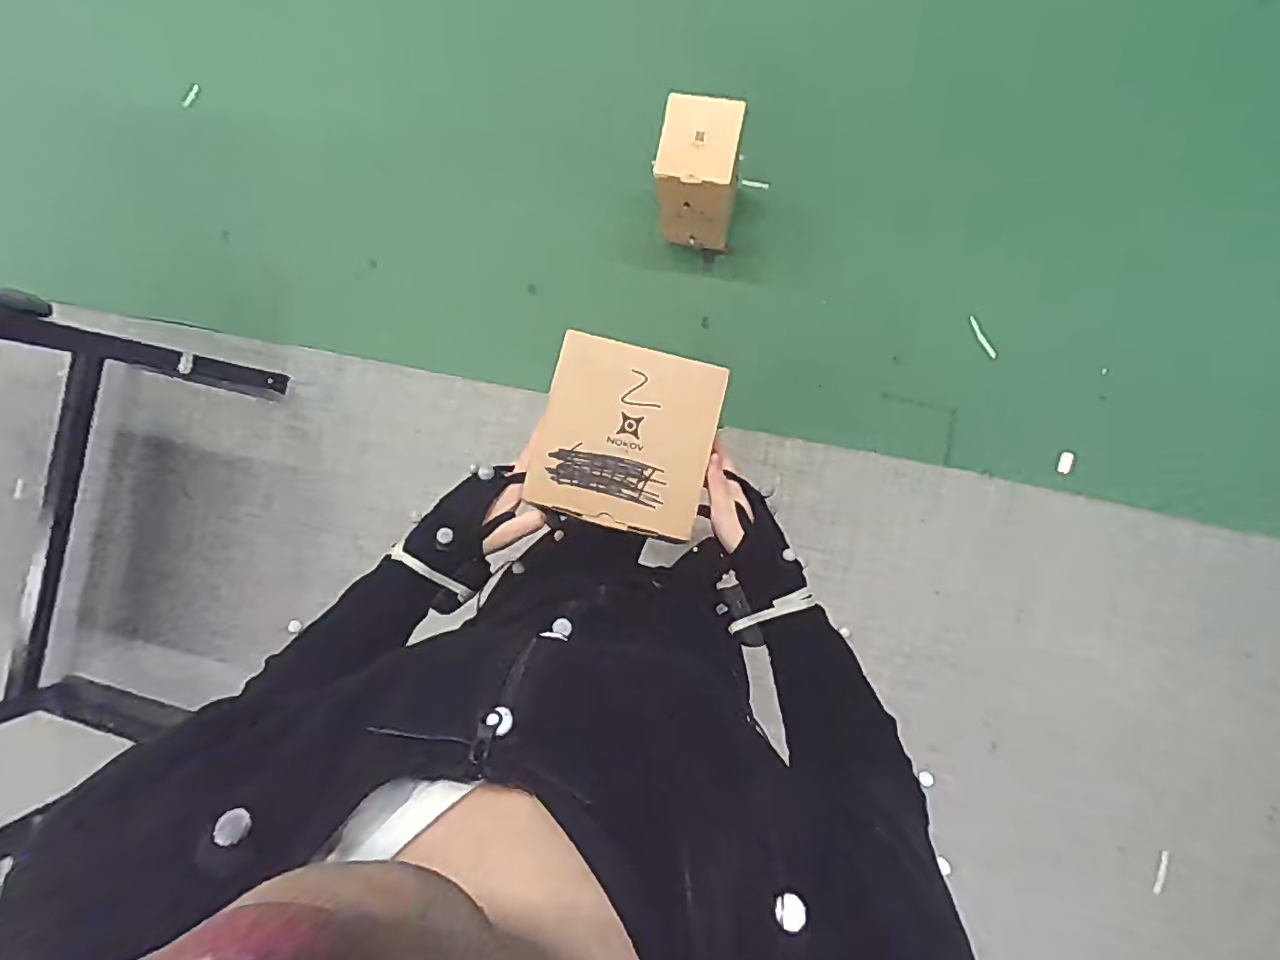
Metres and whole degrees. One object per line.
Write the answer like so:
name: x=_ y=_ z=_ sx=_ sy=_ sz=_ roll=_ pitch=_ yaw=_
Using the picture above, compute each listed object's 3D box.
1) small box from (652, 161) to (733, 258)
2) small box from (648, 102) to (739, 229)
small box: x=0.134 y=-0.697 z=1.379 sx=0.168 sy=0.176 sz=0.179 roll=12 pitch=91 yaw=6
small box: x=0.119 y=-0.700 z=1.217 sx=0.168 sy=0.176 sz=0.179 roll=11 pitch=91 yaw=5
